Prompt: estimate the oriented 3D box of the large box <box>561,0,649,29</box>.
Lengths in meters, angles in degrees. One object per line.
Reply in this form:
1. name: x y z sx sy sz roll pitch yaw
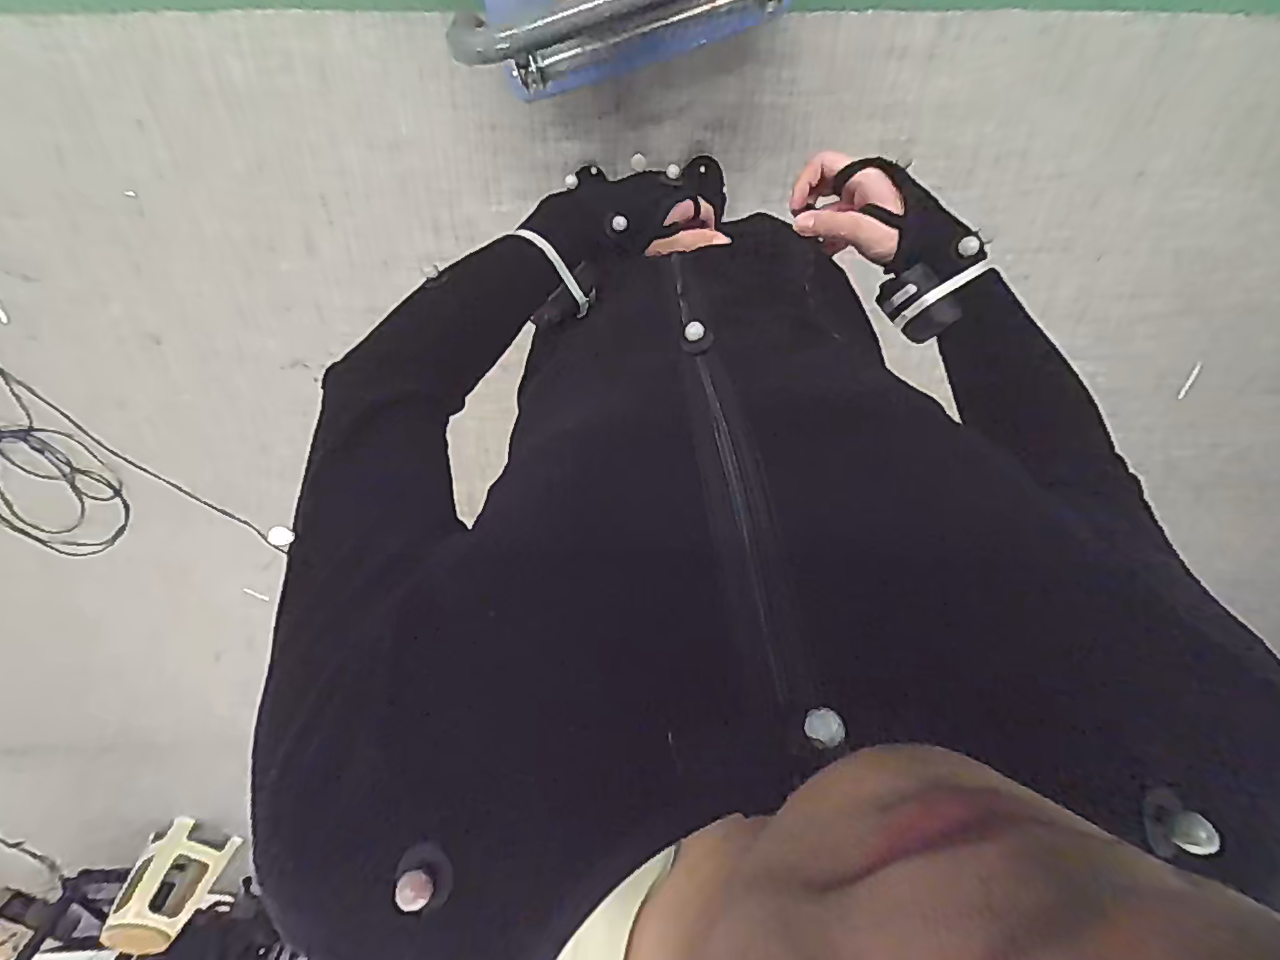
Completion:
1. large box: -0.041 -1.005 0.816 0.320 0.320 0.408 -14 120 7
